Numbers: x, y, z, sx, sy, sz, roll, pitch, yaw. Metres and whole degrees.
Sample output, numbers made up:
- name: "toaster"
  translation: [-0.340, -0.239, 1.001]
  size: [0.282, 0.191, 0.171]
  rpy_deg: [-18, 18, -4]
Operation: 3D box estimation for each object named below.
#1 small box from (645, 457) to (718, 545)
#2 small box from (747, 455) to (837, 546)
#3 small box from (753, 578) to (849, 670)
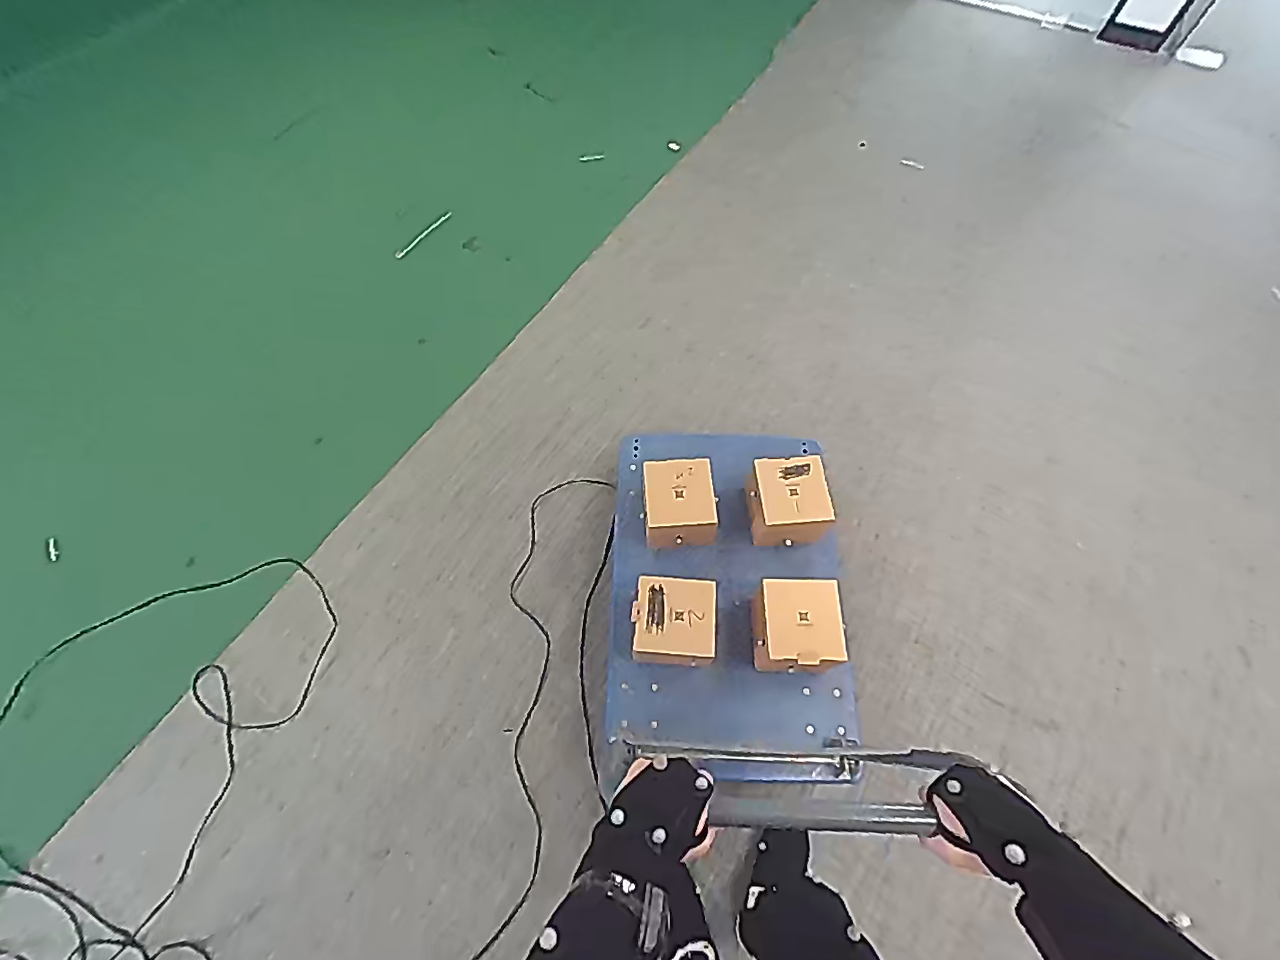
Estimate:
- name: "small box"
  translation: [0.100, 0.060, 1.366]
  size: [0.168, 0.176, 0.179]
  rpy_deg: [-3, 64, -2]
- name: "small box"
  translation: [0.374, 0.054, 1.366]
  size: [0.168, 0.176, 0.179]
  rpy_deg: [-4, 65, -1]
- name: "small box"
  translation: [0.357, 0.332, 1.234]
  size: [0.168, 0.176, 0.179]
  rpy_deg: [1, 65, 1]
